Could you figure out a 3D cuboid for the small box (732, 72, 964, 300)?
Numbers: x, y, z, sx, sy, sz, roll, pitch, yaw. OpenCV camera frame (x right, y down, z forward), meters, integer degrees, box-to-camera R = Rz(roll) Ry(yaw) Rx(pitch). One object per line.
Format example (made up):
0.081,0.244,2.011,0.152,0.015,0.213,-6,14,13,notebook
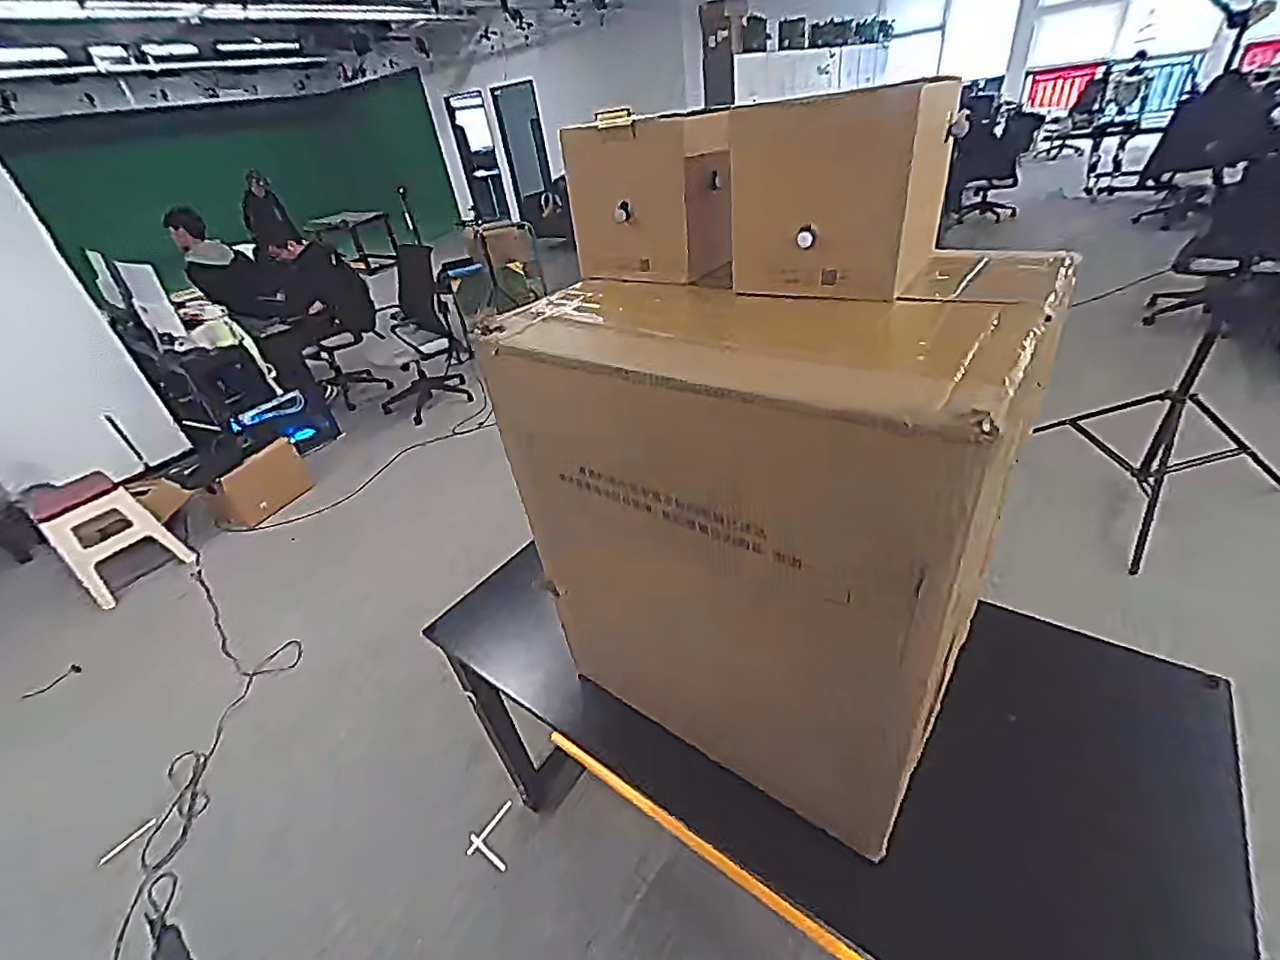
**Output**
0.203,-0.293,0.544,0.168,0.176,0.179,16,40,32,small box

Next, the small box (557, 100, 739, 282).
0.027,-0.355,0.674,0.168,0.176,0.179,16,41,30,small box
